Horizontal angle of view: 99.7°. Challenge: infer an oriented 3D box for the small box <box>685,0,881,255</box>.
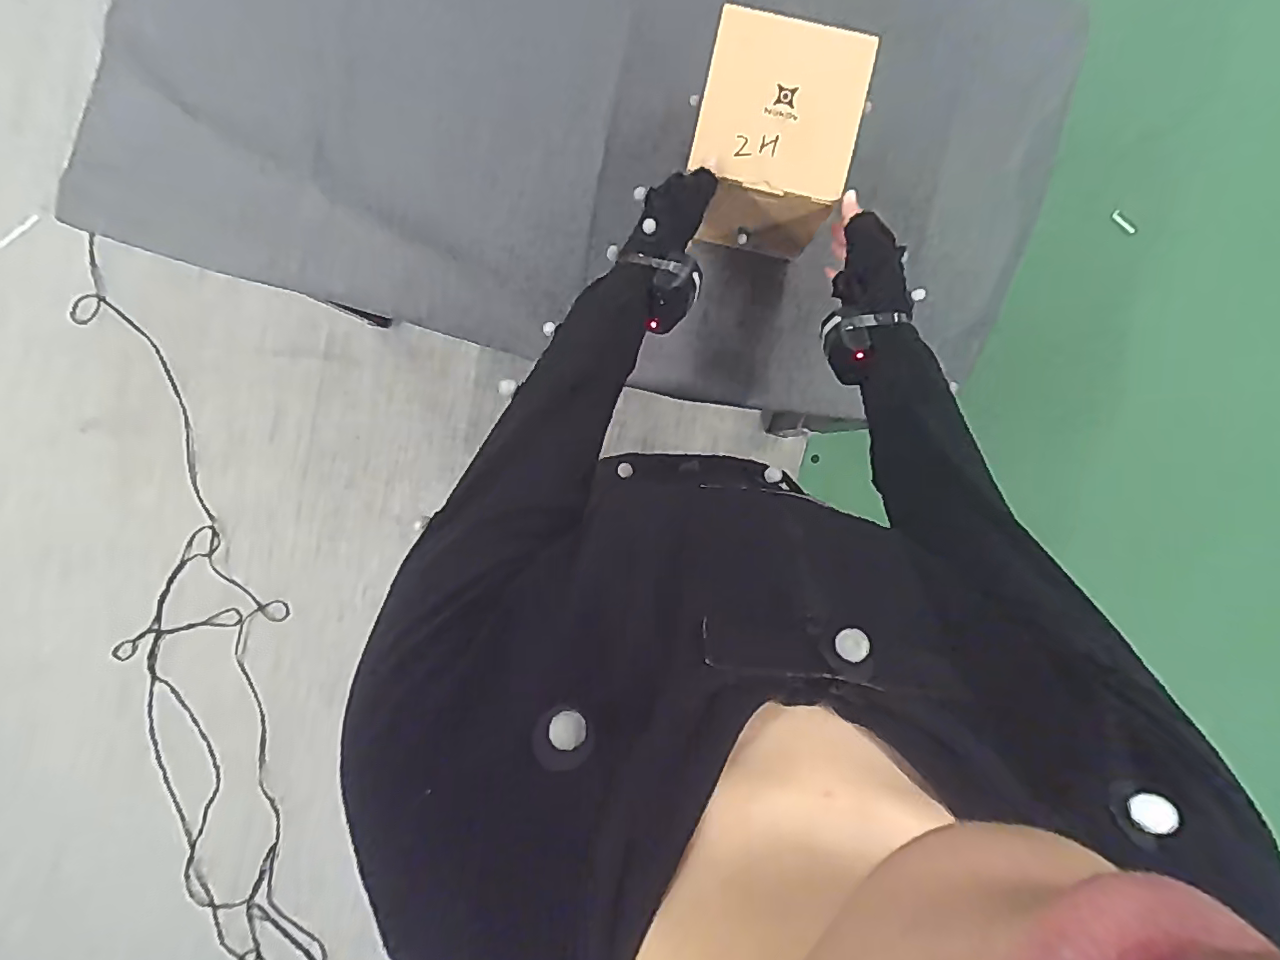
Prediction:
[{"bbox_3d":[0.152,-0.397,0.639,0.168,0.176,0.179,13,93,1],"label":"small box"}]
